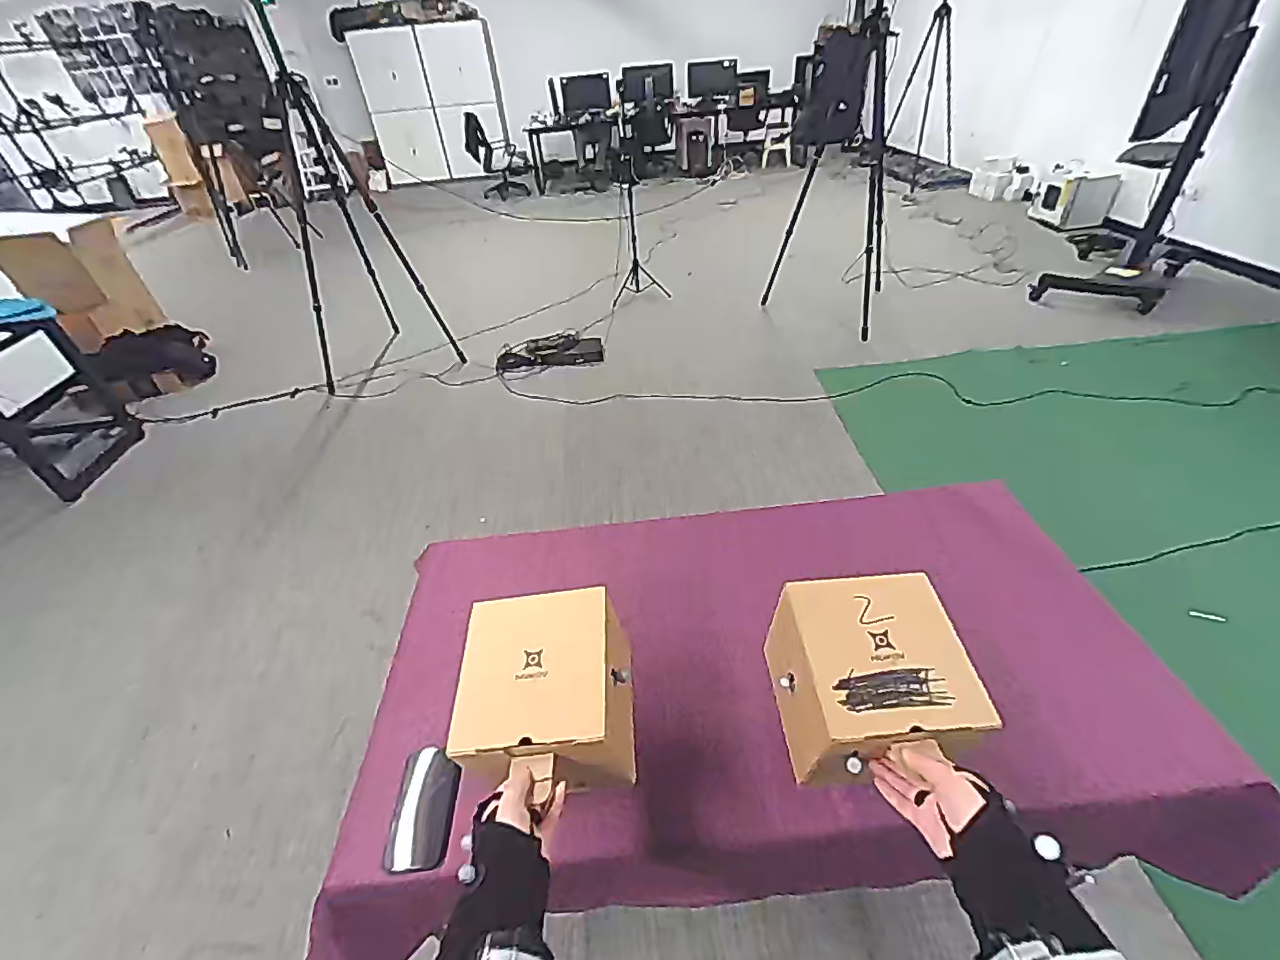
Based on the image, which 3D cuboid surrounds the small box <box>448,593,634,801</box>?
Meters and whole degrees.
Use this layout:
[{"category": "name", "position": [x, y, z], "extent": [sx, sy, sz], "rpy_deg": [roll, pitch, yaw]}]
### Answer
[{"category": "small box", "position": [-0.101, 0.258, 0.641], "extent": [0.168, 0.176, 0.179], "rpy_deg": [-7, 47, 5]}]
